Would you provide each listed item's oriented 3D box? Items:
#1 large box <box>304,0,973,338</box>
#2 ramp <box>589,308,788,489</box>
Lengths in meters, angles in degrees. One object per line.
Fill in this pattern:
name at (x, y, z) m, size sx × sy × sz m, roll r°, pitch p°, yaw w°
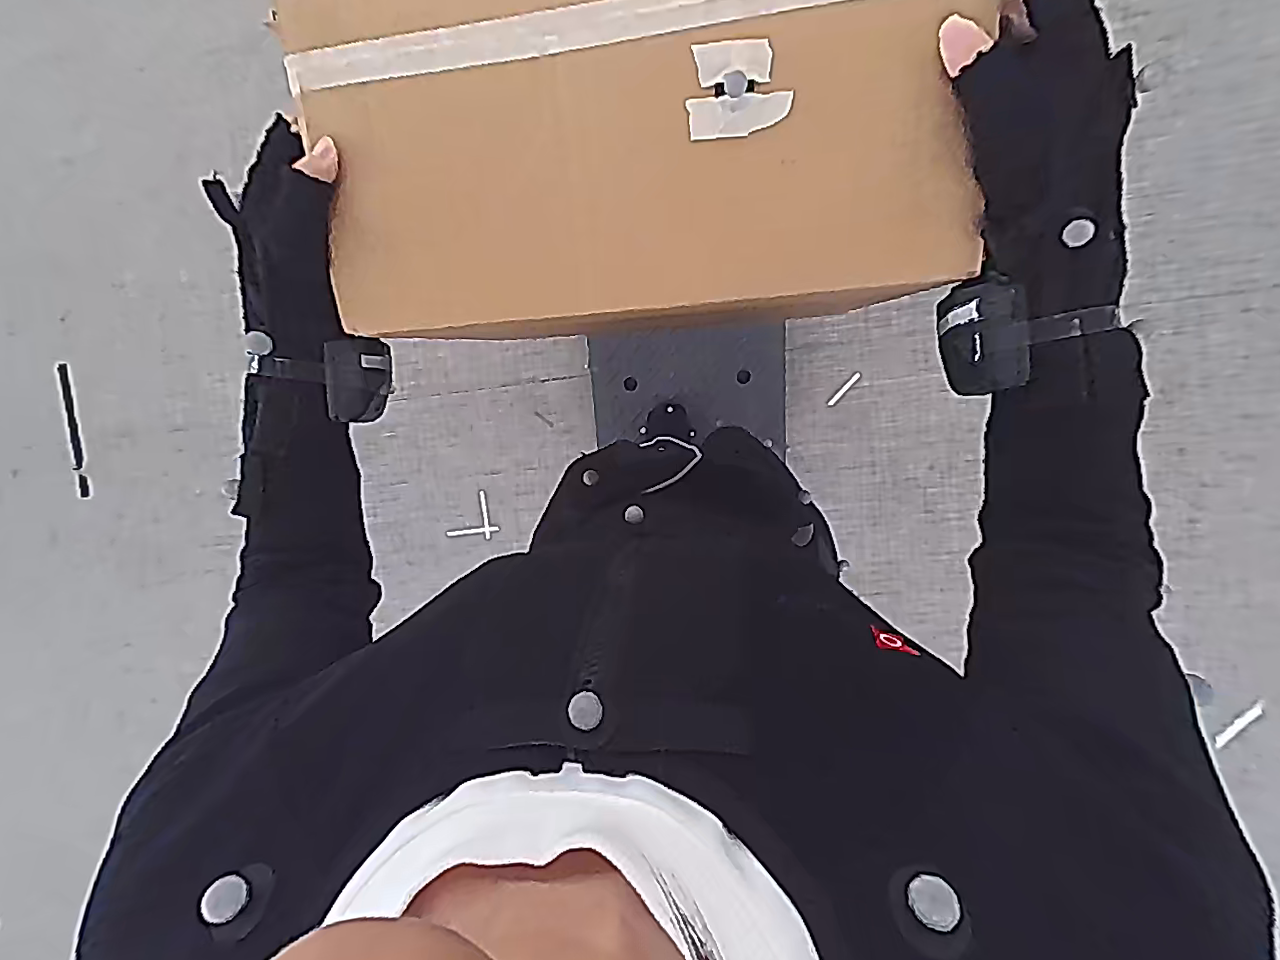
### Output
large box at (0.003, -0.303, 0.466) m, size 0.408 × 0.320 × 0.320 m, roll -3°, pitch 104°, yaw 7°
ramp at (0.108, -0.462, 1.313) m, size 0.509 × 0.206 × 0.991 m, roll -5°, pitch 97°, yaw 6°
